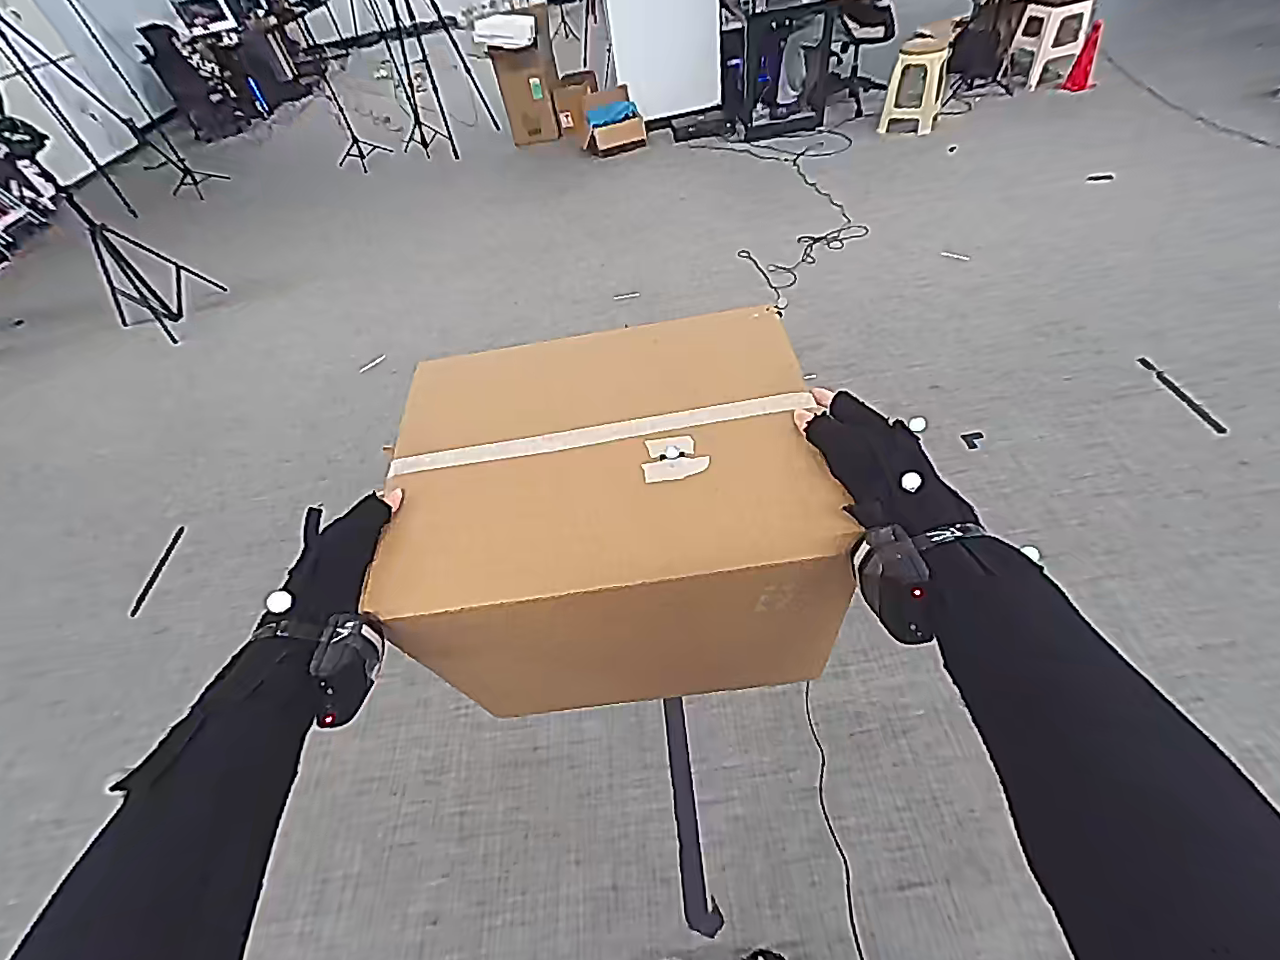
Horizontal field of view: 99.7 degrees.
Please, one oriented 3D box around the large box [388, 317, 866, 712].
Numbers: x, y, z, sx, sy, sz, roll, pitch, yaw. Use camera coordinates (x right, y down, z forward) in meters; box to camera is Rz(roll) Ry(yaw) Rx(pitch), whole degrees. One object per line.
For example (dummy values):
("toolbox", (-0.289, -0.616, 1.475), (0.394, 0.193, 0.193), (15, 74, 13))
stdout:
("large box", (-0.010, 0.054, 0.643), (0.408, 0.320, 0.320), (-8, 53, 3))
